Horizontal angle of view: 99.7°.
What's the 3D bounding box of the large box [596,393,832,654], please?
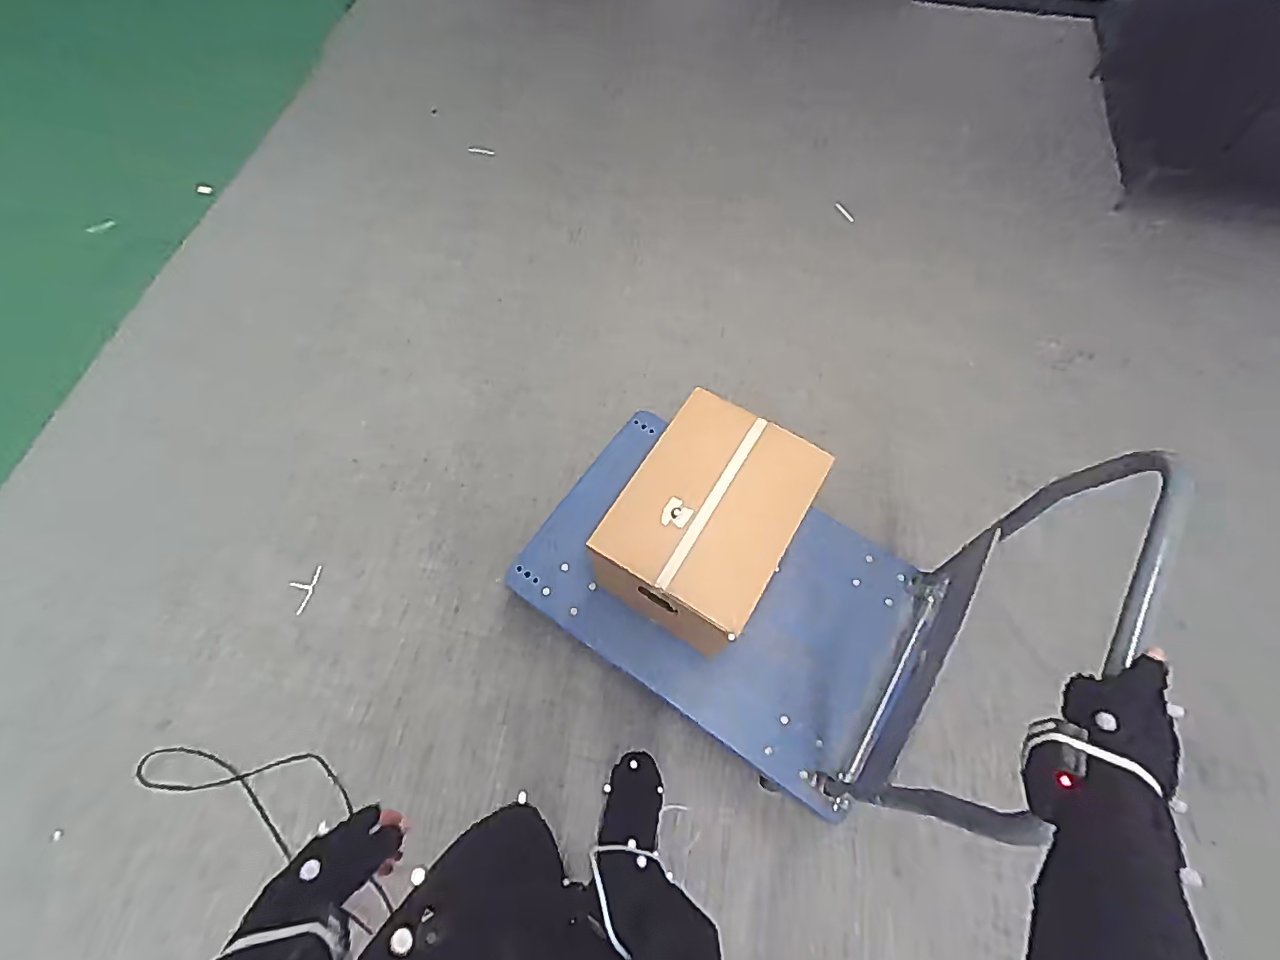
[{"bbox_3d":[0.148,0.103,1.156,0.320,0.320,0.408,29,69,13],"label":"large box"}]
